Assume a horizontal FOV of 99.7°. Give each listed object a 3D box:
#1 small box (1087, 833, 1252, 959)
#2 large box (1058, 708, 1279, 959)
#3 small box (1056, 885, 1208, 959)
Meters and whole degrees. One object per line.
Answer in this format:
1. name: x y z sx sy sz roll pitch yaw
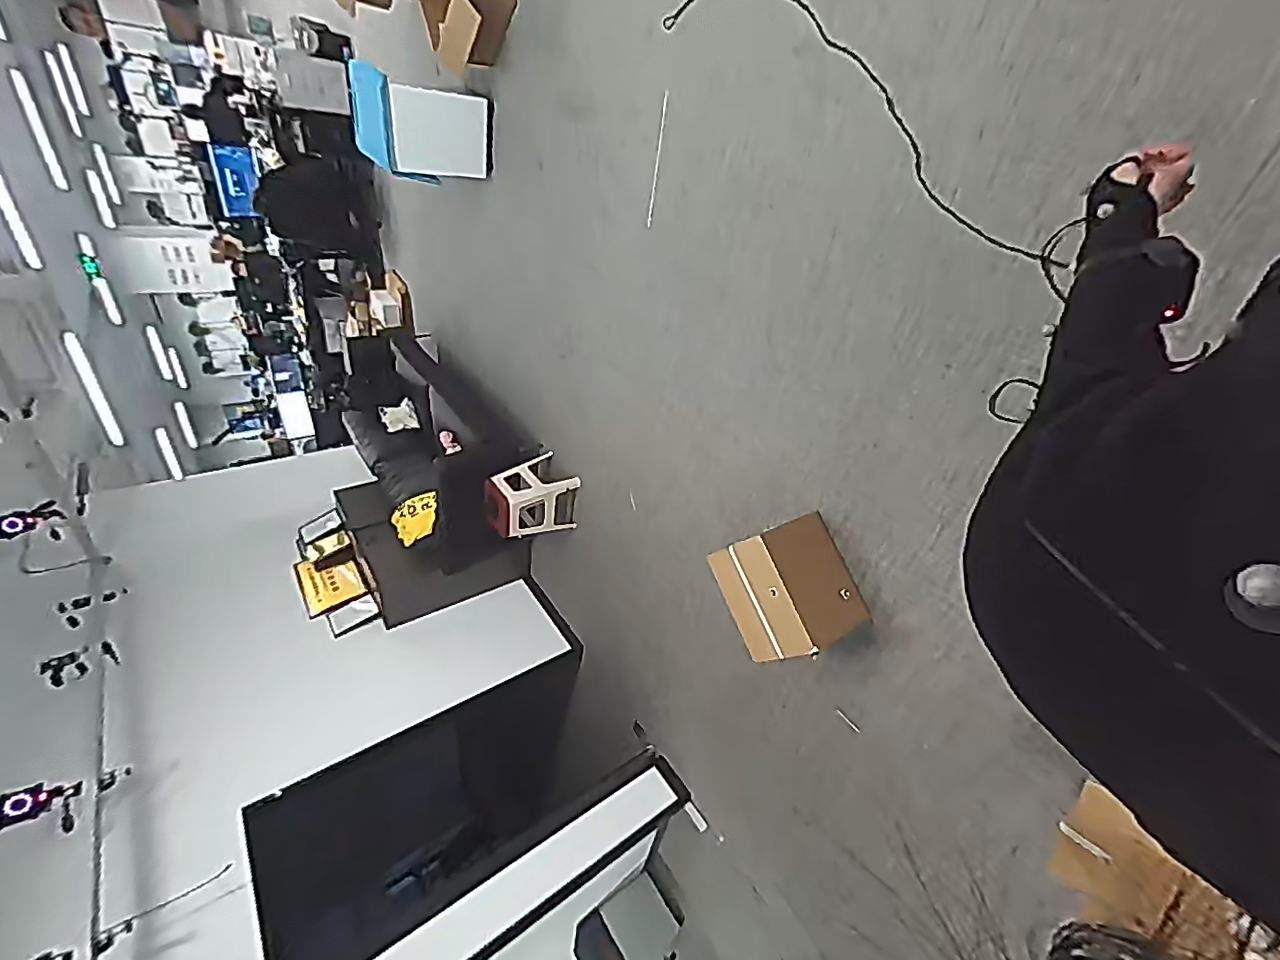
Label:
1. small box: 0.991 0.828 1.022 0.179 0.176 0.168 33 128 45
2. large box: 1.204 0.776 1.137 0.408 0.320 0.320 27 127 46
3. small box: 0.854 0.866 0.941 0.168 0.176 0.179 34 130 44
